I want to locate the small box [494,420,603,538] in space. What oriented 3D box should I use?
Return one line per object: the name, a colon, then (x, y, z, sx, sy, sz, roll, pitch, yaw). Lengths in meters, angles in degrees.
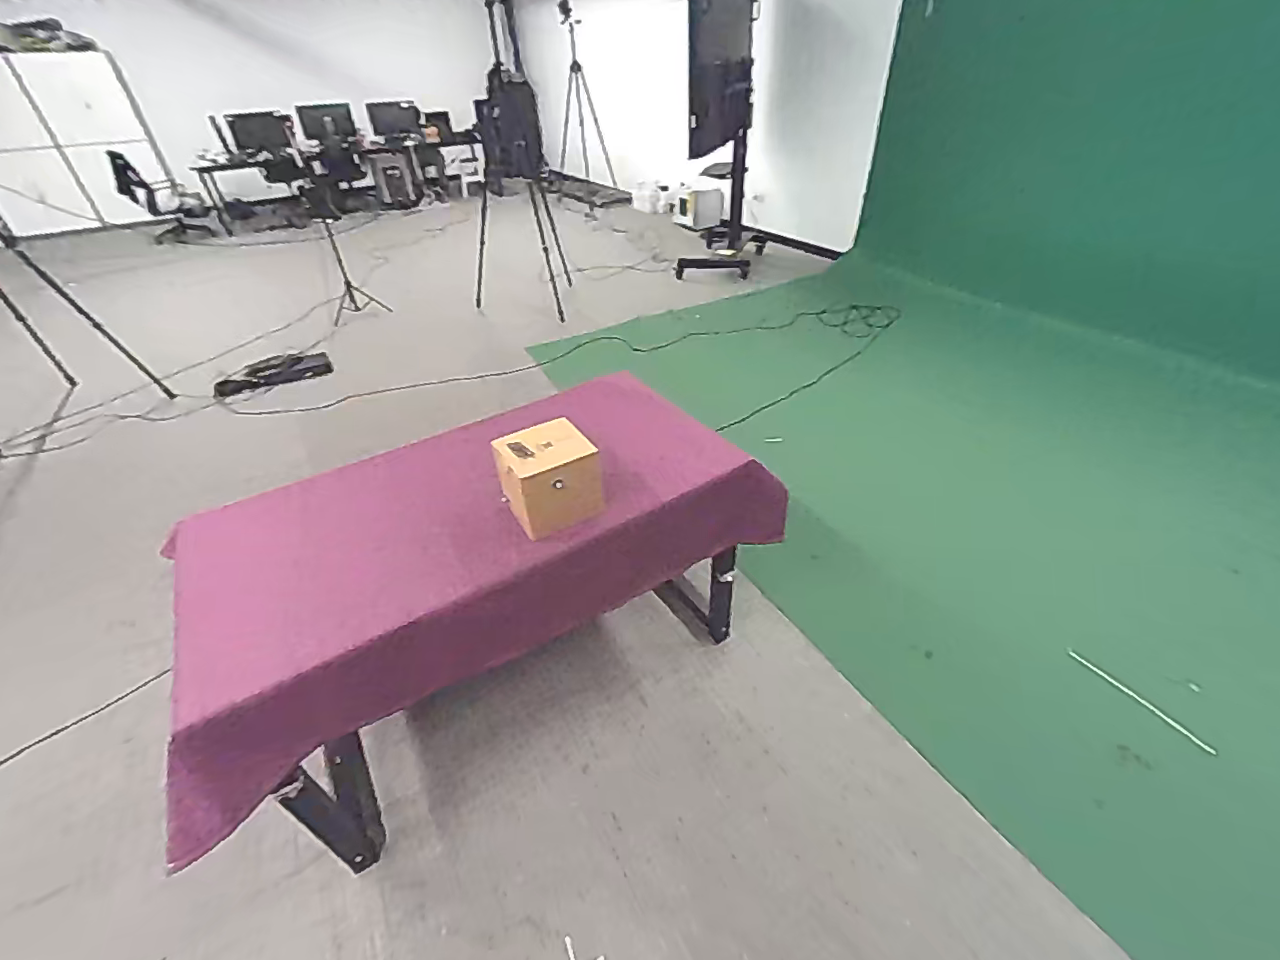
small box: (-0.195, -0.002, 1.178, 0.179, 0.176, 0.168, -22, 42, -23)
